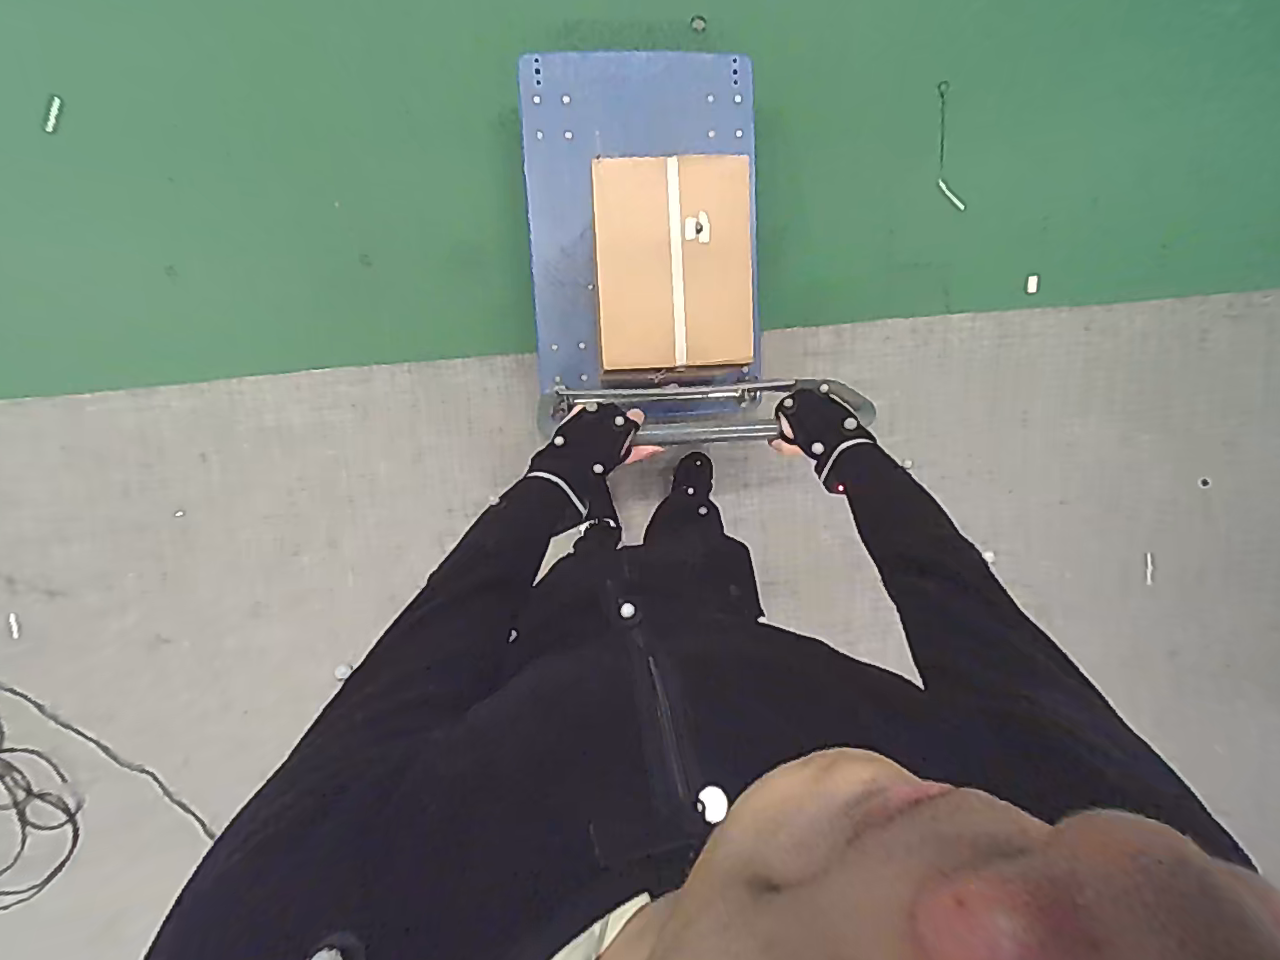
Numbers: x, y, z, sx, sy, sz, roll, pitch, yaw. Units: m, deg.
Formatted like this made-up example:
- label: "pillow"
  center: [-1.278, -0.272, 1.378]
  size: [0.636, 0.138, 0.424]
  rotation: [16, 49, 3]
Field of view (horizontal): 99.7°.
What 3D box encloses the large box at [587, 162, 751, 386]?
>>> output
- label: "large box"
  center: [0.051, -0.436, 1.227]
  size: [0.320, 0.320, 0.408]
  rotation: [-4, 96, -6]
